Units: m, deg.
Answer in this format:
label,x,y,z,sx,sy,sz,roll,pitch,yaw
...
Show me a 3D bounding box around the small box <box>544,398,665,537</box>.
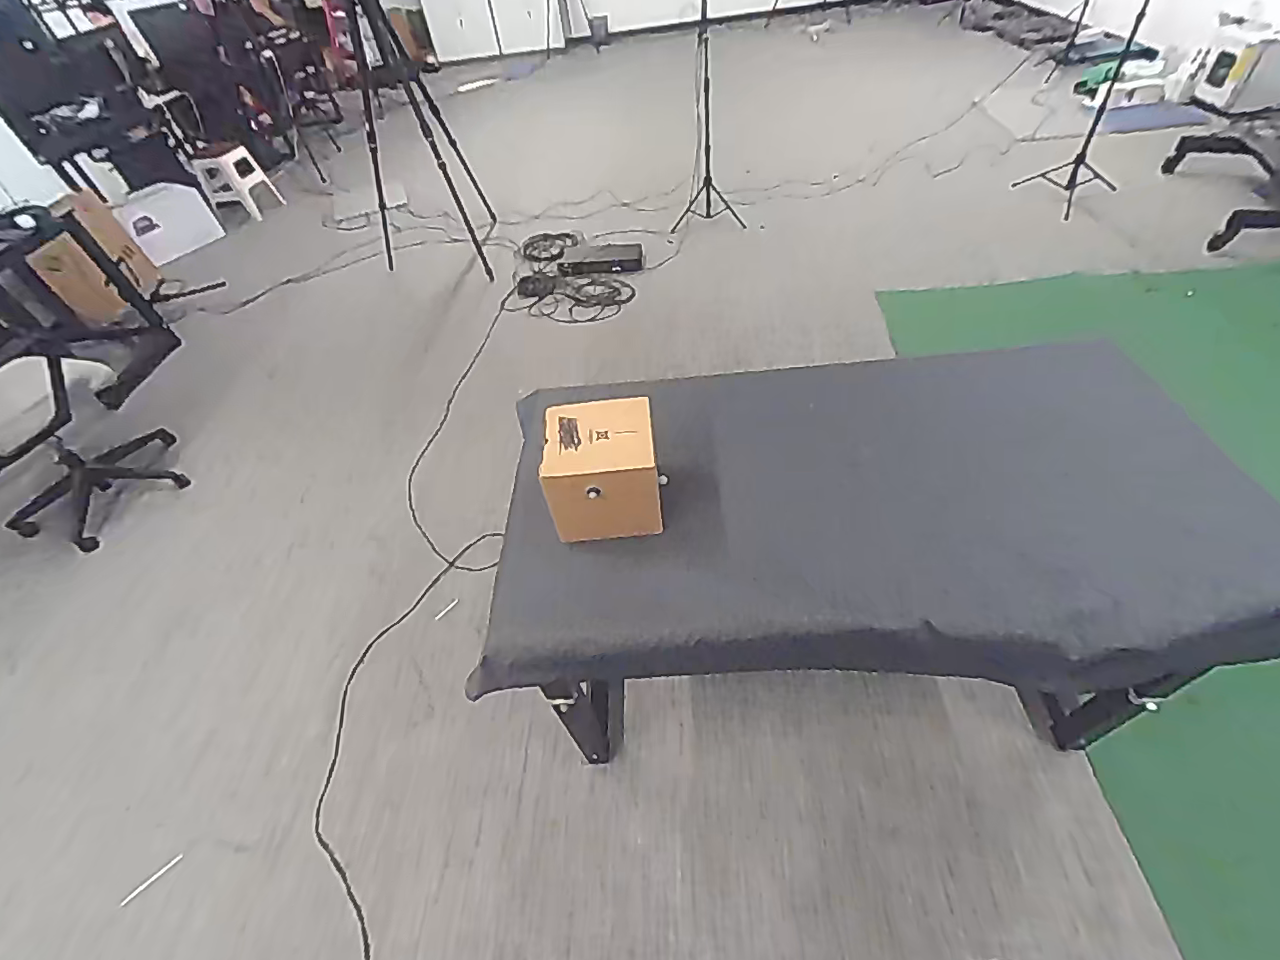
label,x,y,z,sx,sy,sz,roll,pitch,yaw
small box,-0.054,-0.016,0.921,0.179,0.176,0.168,-5,48,2
